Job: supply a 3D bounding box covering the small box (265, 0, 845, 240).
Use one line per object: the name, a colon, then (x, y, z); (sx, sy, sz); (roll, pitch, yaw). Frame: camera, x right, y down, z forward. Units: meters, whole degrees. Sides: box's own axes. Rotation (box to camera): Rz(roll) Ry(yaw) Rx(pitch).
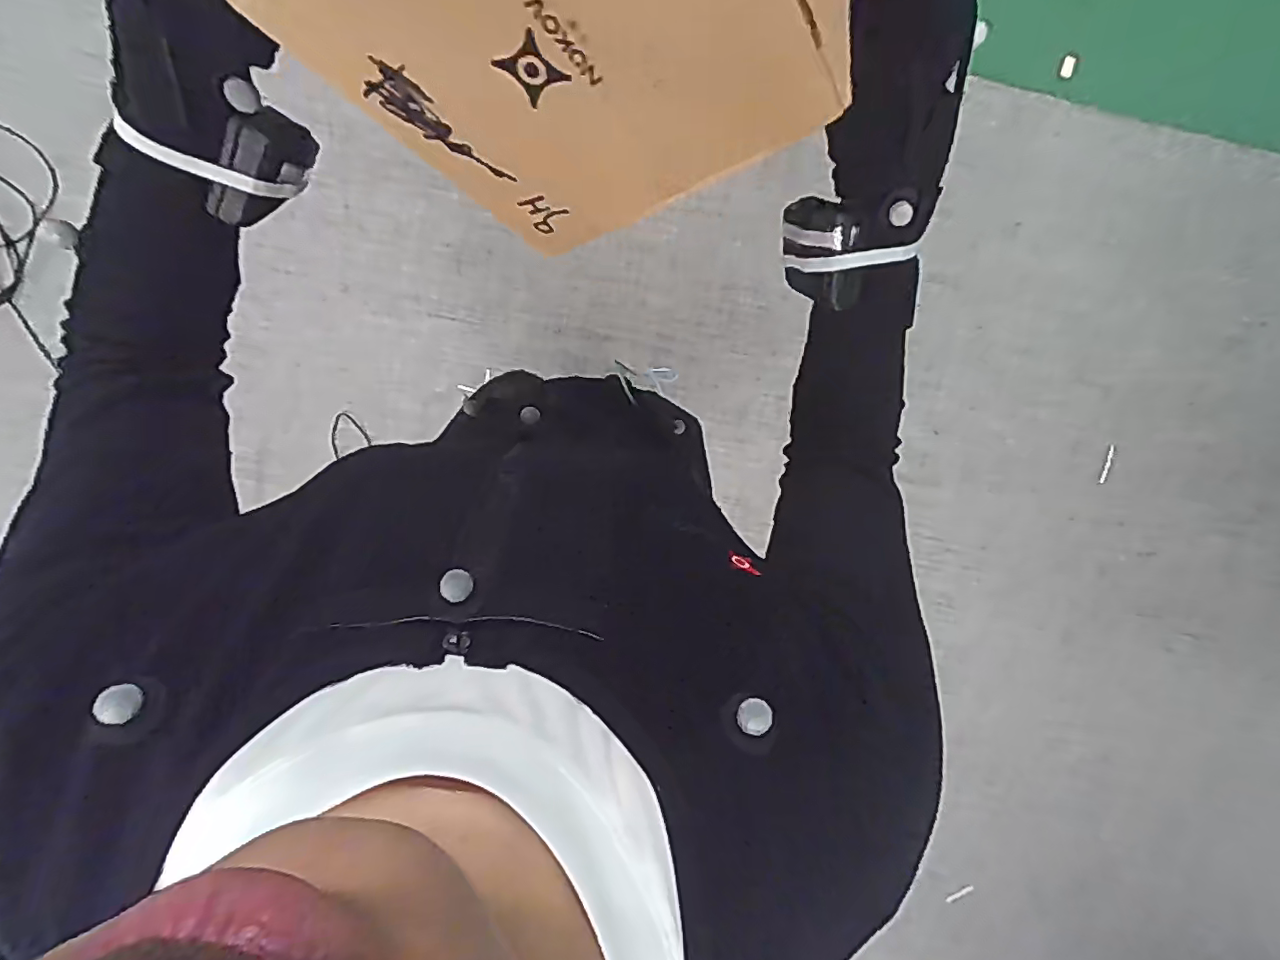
small box: (-0.024, -0.251, 0.236); (0.179, 0.168, 0.176); (-6, 70, 37)
